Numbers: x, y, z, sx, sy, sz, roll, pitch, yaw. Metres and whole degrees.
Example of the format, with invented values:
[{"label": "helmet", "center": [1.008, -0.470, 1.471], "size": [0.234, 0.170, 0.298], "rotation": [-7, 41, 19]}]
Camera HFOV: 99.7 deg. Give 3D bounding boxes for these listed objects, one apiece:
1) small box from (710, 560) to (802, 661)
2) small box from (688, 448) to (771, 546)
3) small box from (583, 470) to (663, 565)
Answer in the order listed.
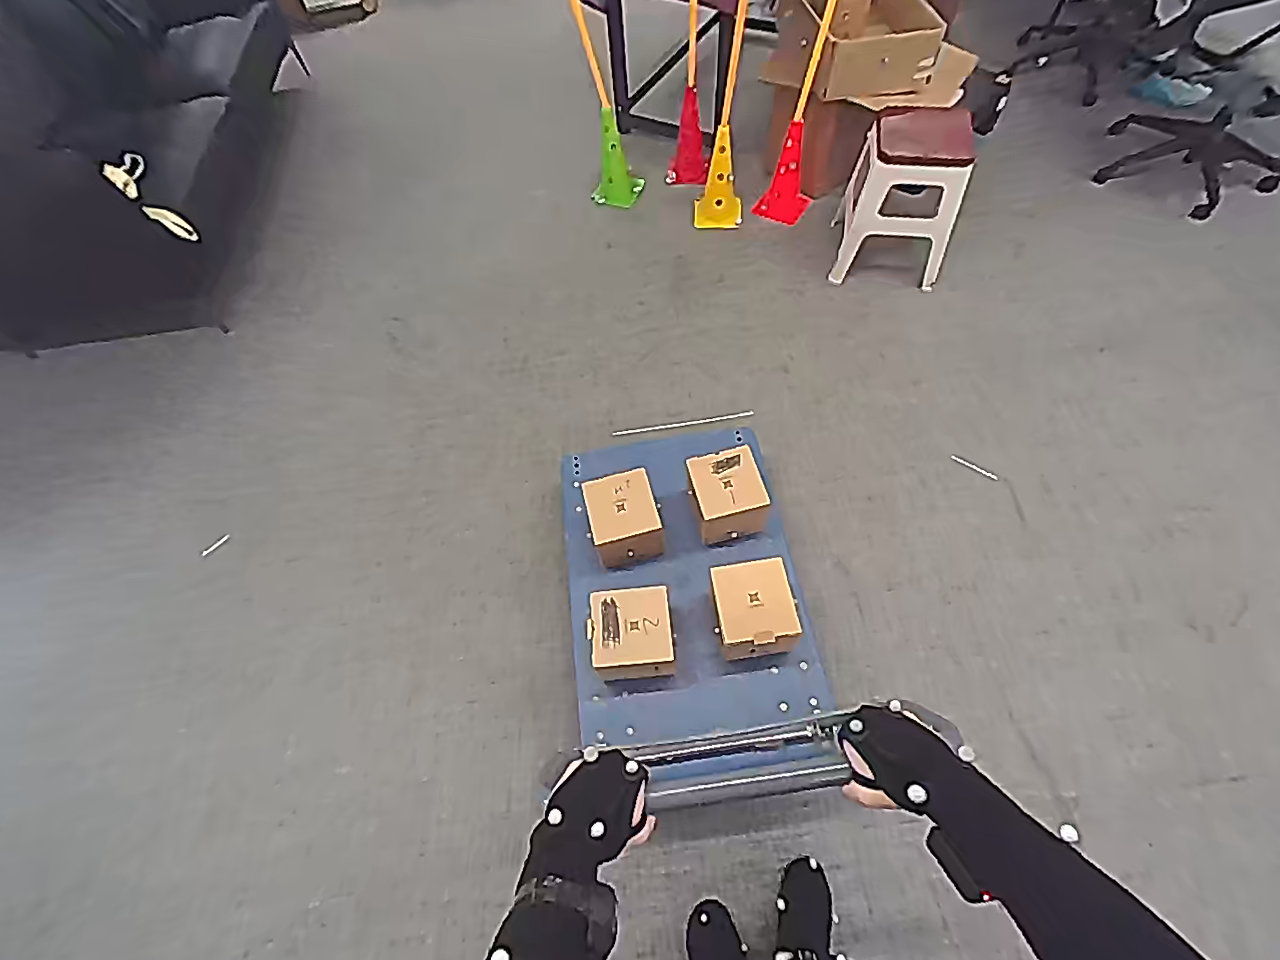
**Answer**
[{"label": "small box", "center": [0.258, 0.304, 1.249], "size": [0.168, 0.176, 0.179], "rotation": [-9, 61, 0]}, {"label": "small box", "center": [0.222, 0.048, 1.393], "size": [0.168, 0.176, 0.179], "rotation": [-14, 62, -2]}, {"label": "small box", "center": [-0.038, 0.105, 1.384], "size": [0.168, 0.176, 0.179], "rotation": [-14, 61, -4]}]
